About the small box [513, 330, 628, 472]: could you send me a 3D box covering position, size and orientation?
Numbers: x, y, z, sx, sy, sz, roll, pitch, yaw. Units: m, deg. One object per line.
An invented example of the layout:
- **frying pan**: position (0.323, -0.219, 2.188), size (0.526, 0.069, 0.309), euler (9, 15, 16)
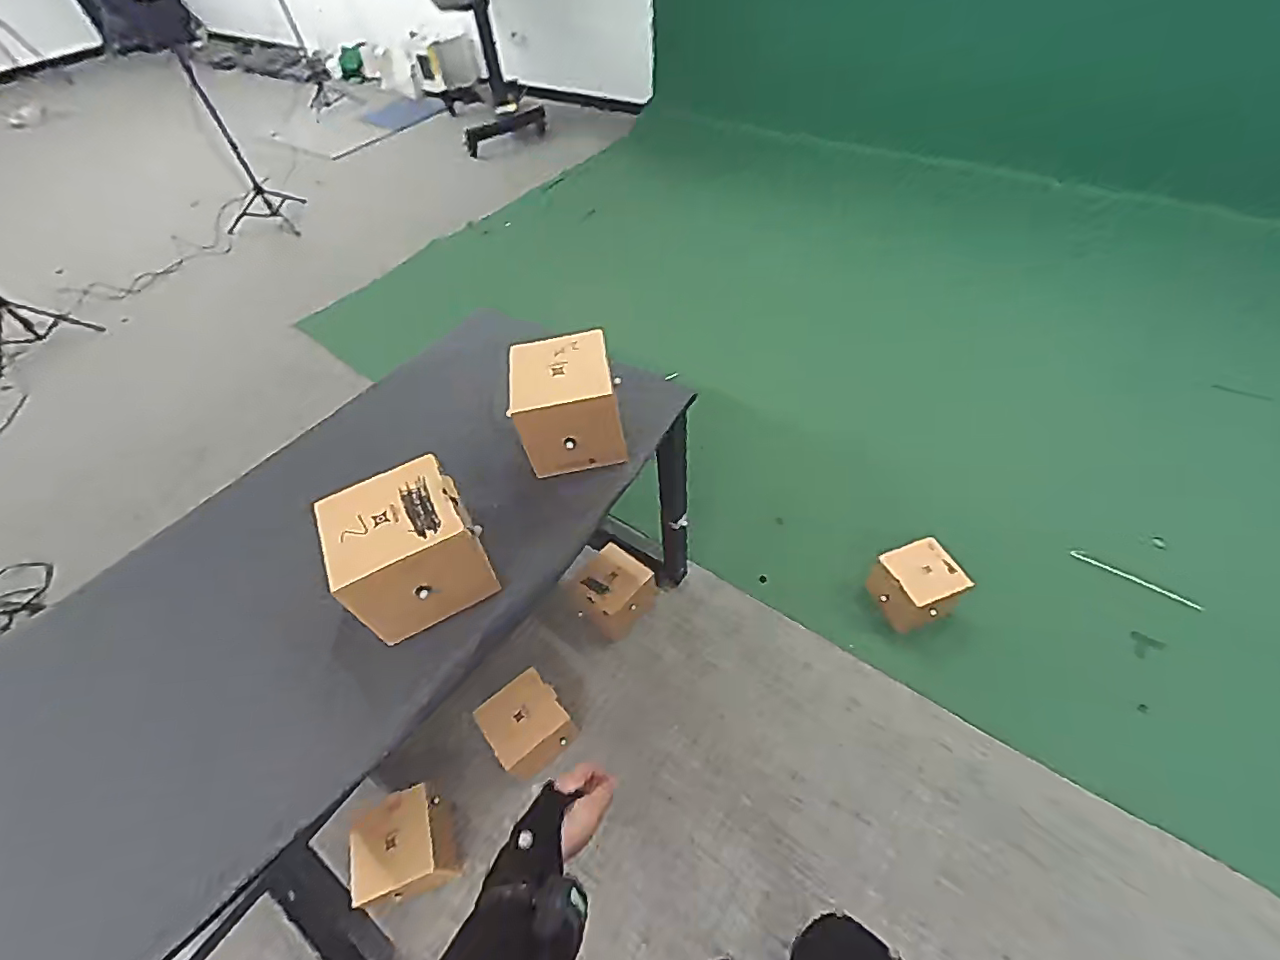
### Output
- **small box**: position (-0.118, -0.131, 0.948), size (0.168, 0.176, 0.179), euler (-10, 50, 0)

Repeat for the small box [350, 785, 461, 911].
- **small box**: position (-0.505, 0.798, 1.175), size (0.168, 0.176, 0.179), euler (-19, 52, -10)

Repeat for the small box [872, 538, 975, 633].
- **small box**: position (0.760, 0.293, 1.478), size (0.179, 0.176, 0.168), euler (-18, 51, -9)

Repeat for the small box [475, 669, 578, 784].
- **small box**: position (-0.266, 0.600, 1.314), size (0.179, 0.176, 0.168), euler (-36, 56, -20)

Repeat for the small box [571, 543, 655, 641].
- **small box**: position (-0.067, 0.319, 1.523), size (0.168, 0.176, 0.179), euler (33, 60, 26)
